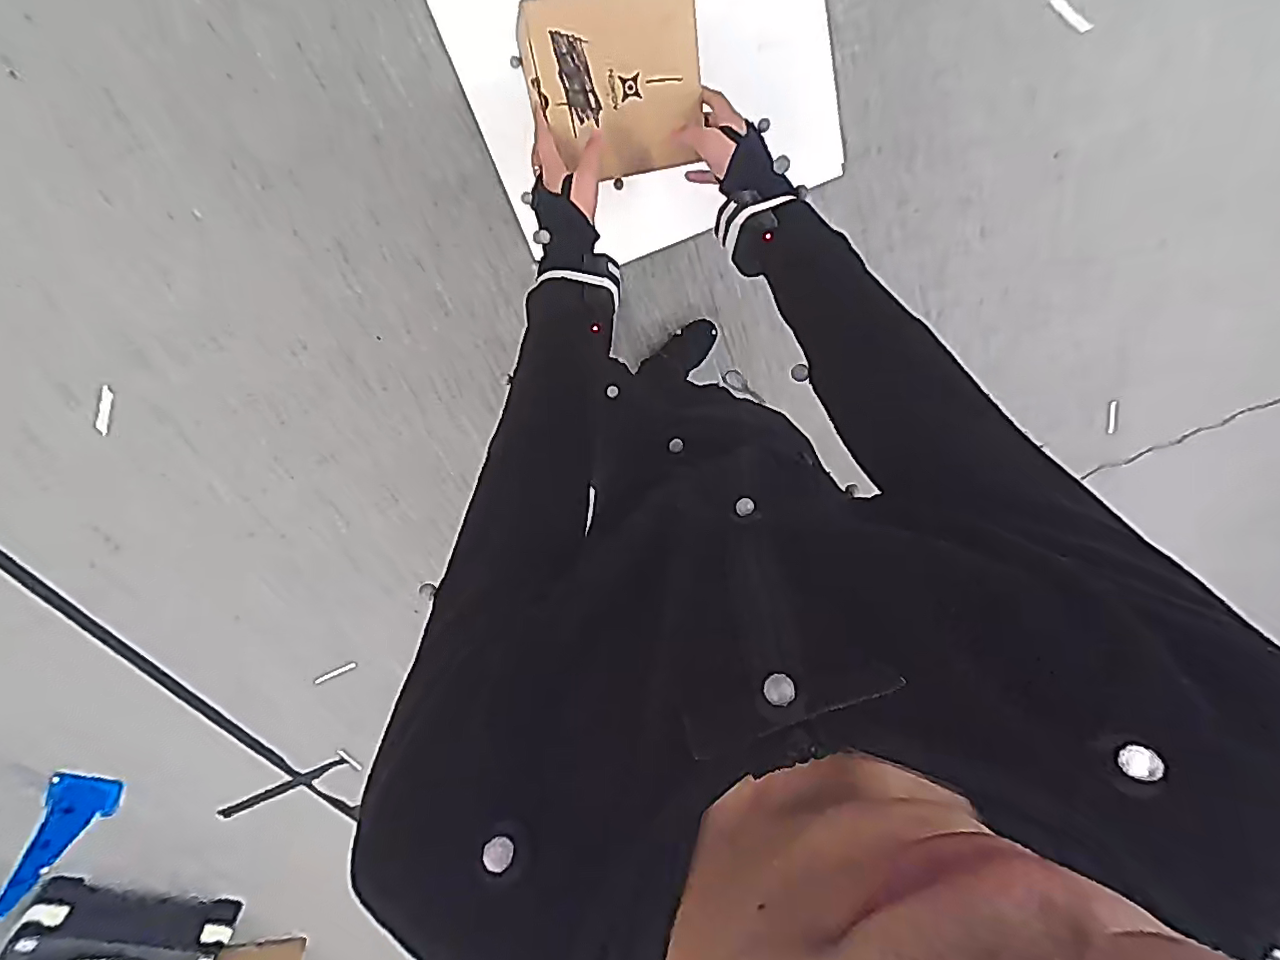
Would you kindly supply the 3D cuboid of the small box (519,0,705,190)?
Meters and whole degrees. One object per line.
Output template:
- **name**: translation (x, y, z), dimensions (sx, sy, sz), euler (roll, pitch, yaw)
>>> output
- **small box**: translation (-0.038, -0.447, 0.634), dimensions (0.179, 0.176, 0.168), euler (-15, 123, -7)
